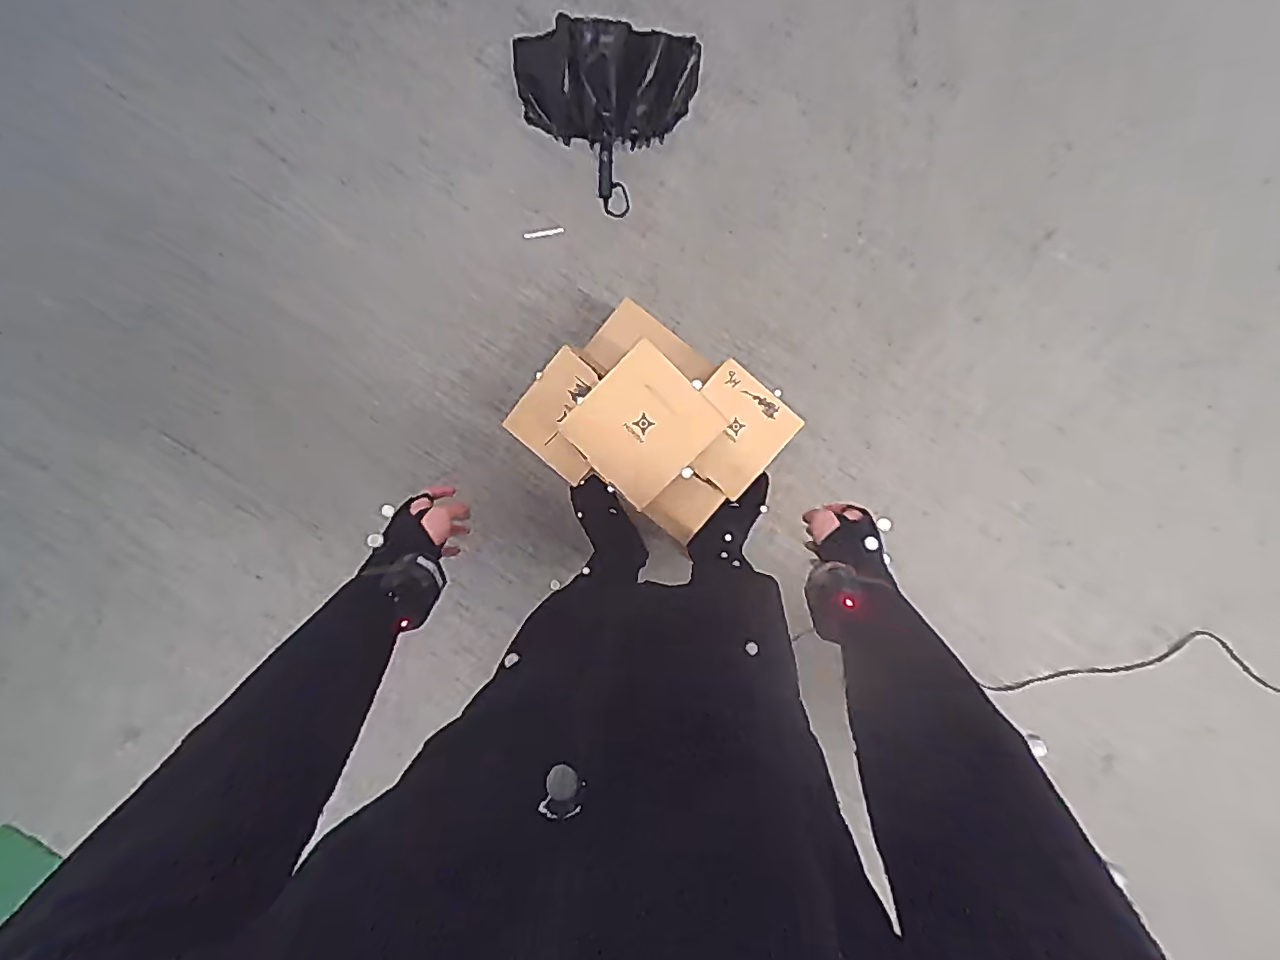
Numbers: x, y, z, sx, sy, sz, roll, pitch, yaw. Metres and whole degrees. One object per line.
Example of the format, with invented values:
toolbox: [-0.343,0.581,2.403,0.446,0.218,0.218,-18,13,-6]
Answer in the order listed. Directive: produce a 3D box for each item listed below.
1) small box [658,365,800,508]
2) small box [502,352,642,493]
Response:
small box: [0.151,-0.075,0.957,0.168,0.176,0.179,41,96,0]
small box: [-0.111,-0.104,0.969,0.168,0.176,0.179,42,99,-1]
